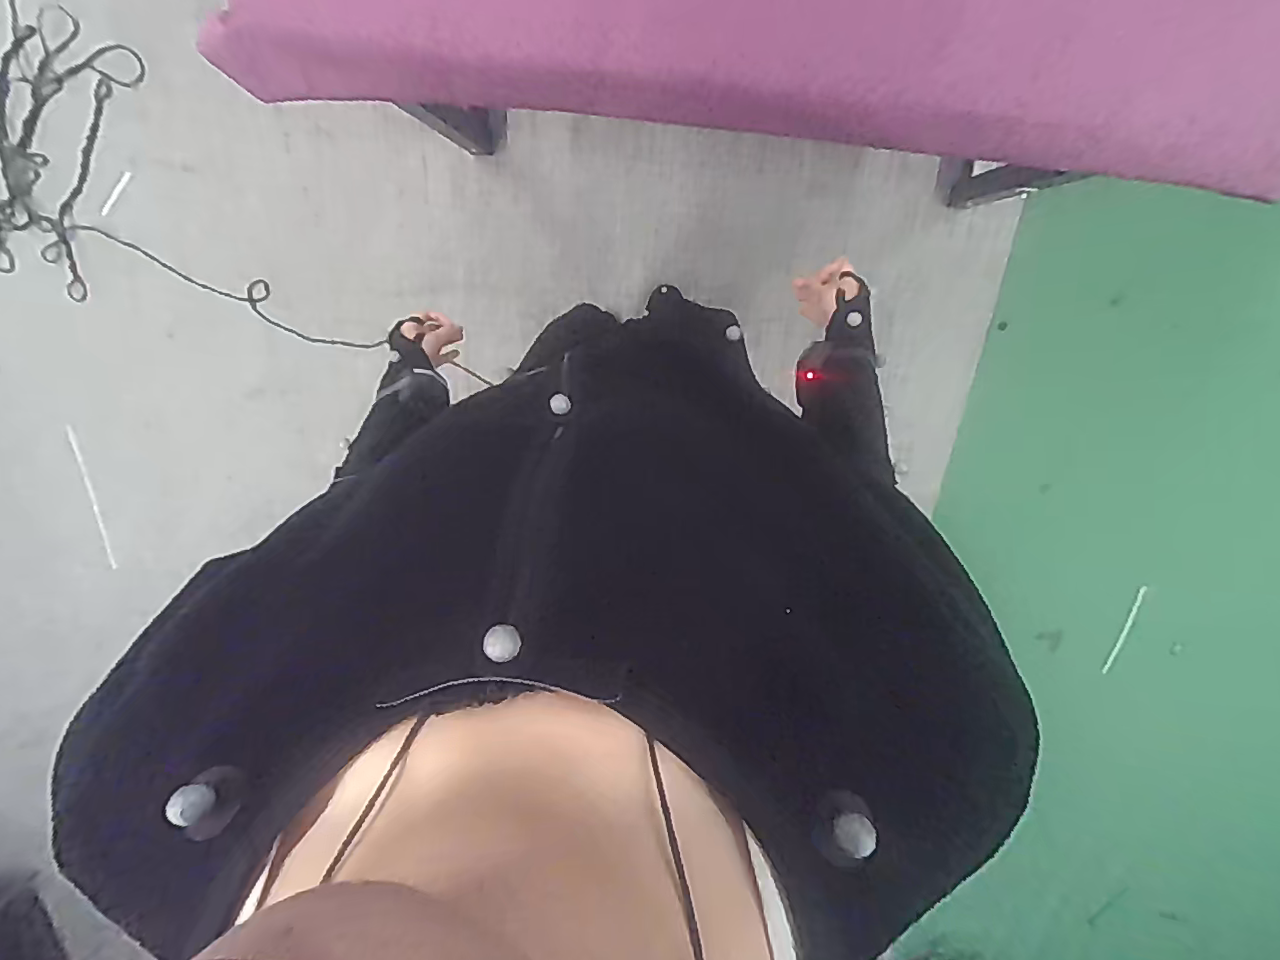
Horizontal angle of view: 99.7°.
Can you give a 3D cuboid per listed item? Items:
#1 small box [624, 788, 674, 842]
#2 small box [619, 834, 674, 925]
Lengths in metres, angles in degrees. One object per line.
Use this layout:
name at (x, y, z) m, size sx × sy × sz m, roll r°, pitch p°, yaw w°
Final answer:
small box at (0.028, 1.209, 1.884) m, size 0.168 × 0.176 × 0.179 m, roll 3°, pitch 111°, yaw 2°
small box at (0.022, 1.272, 1.731) m, size 0.168 × 0.176 × 0.179 m, roll 3°, pitch 111°, yaw 2°
